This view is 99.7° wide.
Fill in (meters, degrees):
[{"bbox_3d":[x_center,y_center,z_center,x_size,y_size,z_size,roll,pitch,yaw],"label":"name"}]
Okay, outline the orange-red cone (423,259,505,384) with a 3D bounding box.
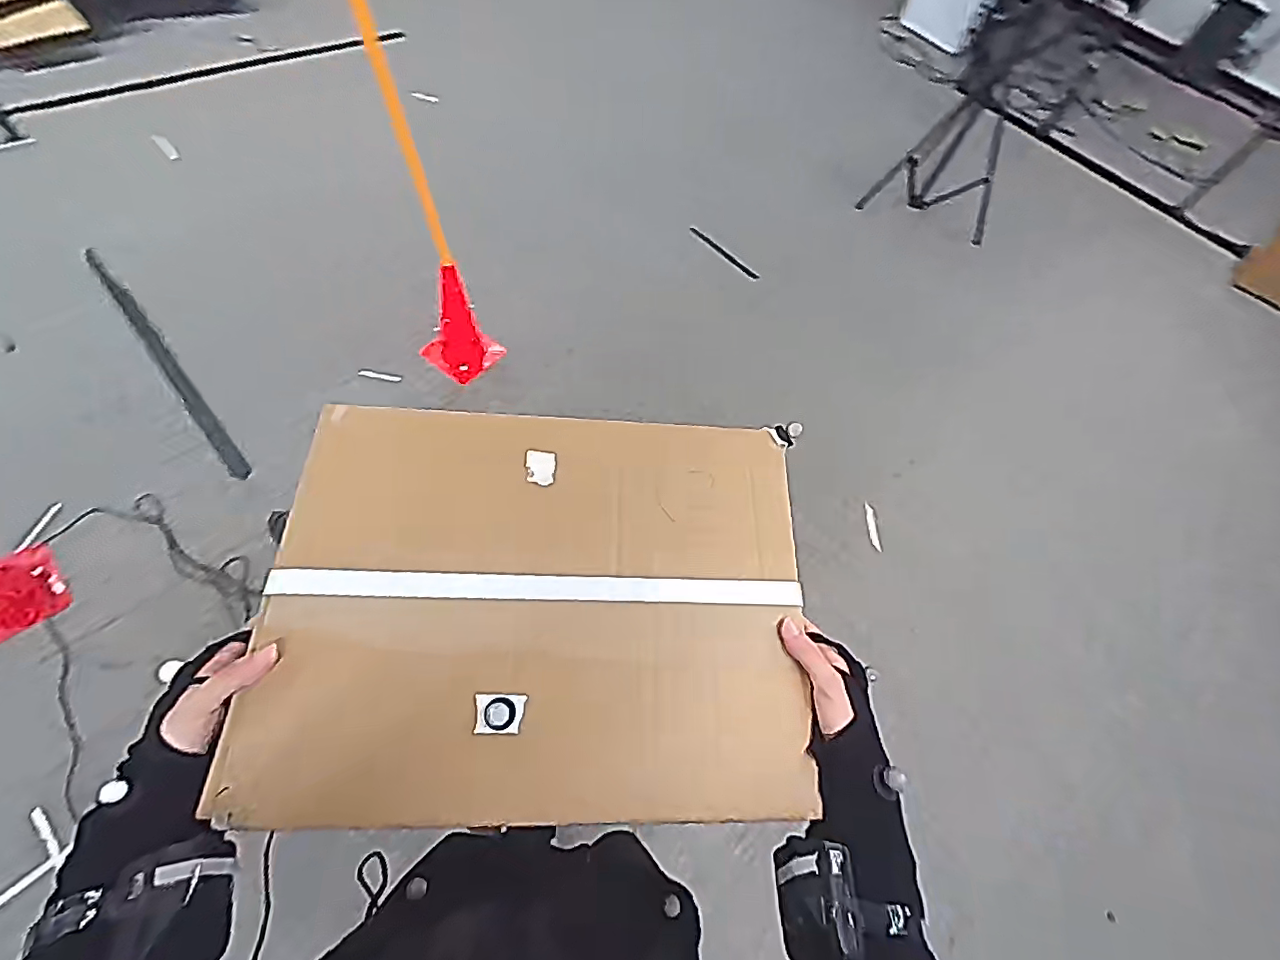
[{"bbox_3d":[-0.534,-0.491,1.590,0.198,0.360,0.199,38,60,11],"label":"orange-red cone"}]
